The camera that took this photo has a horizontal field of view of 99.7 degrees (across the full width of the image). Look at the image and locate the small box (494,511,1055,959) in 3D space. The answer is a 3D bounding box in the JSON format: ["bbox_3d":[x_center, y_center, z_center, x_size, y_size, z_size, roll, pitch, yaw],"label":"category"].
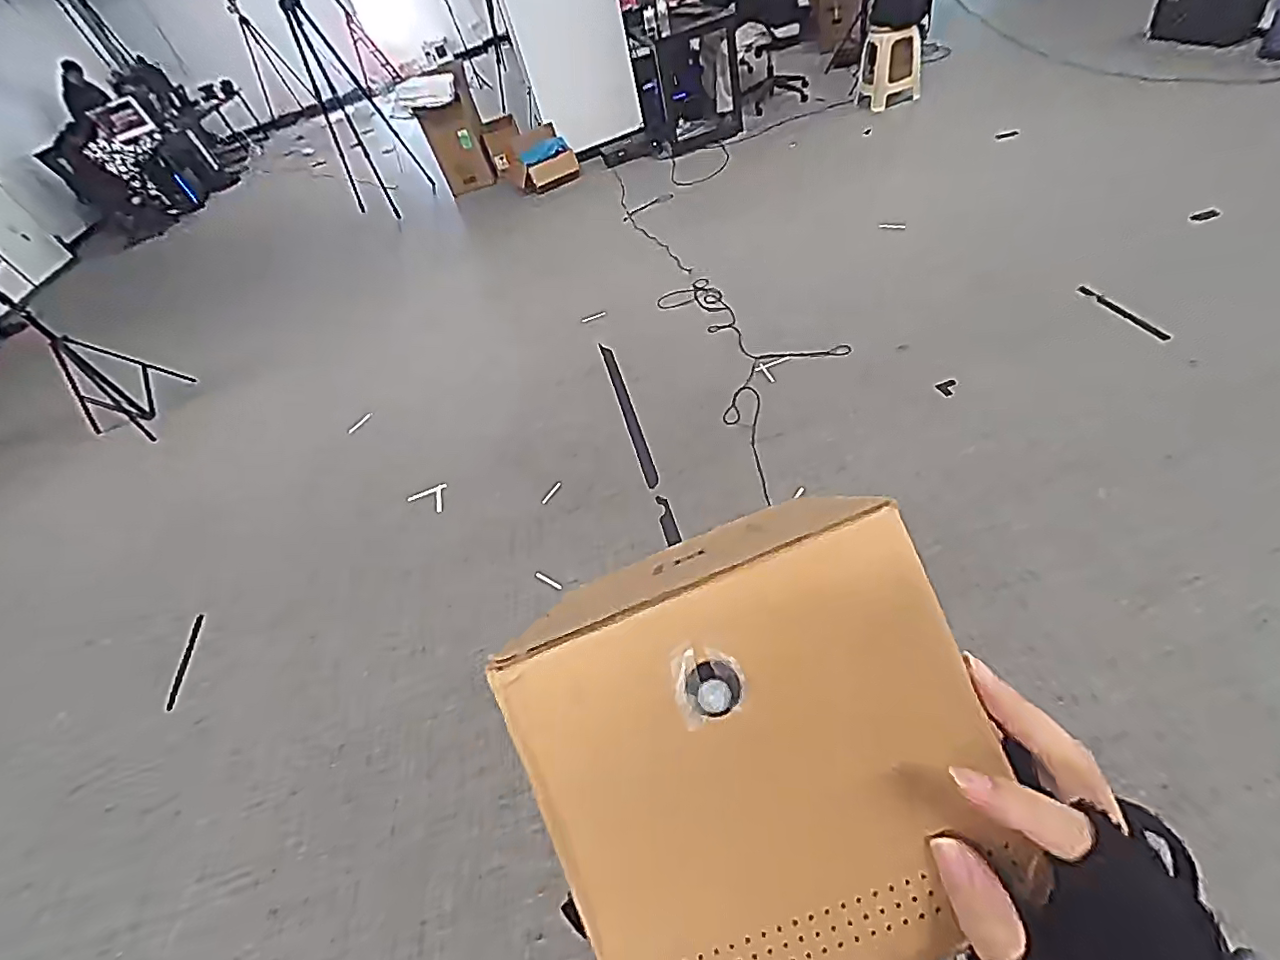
[{"bbox_3d":[0.057,0.127,0.286,0.179,0.168,0.176,-23,87,4],"label":"small box"}]
